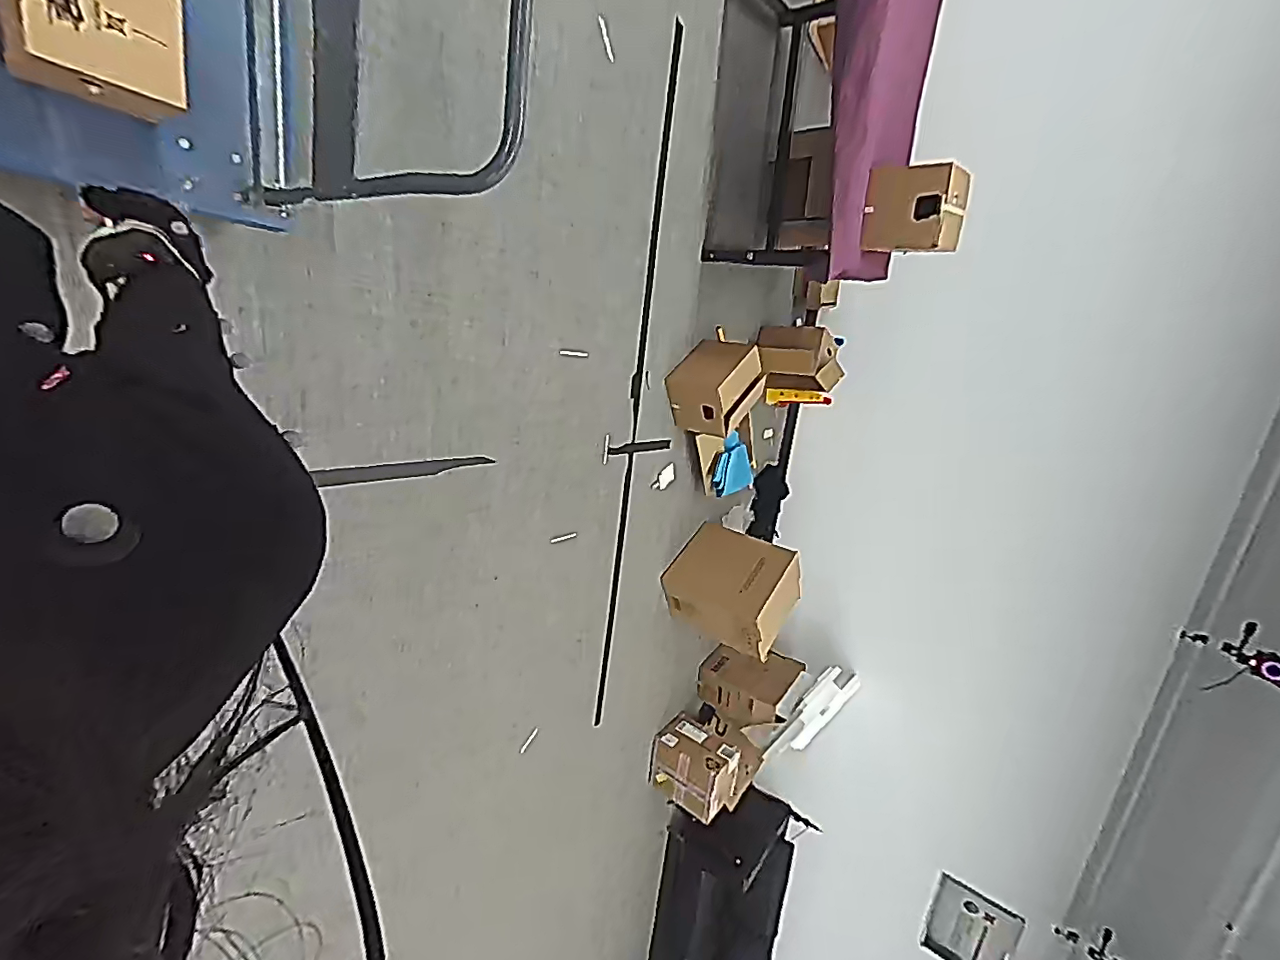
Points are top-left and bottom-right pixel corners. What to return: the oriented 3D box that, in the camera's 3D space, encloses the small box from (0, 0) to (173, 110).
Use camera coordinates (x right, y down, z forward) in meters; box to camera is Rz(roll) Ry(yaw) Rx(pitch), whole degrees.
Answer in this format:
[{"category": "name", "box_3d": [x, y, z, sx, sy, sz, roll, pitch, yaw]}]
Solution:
[{"category": "small box", "box_3d": [-0.837, -0.683, 0.807, 0.179, 0.176, 0.168, -9, 111, -55]}]
